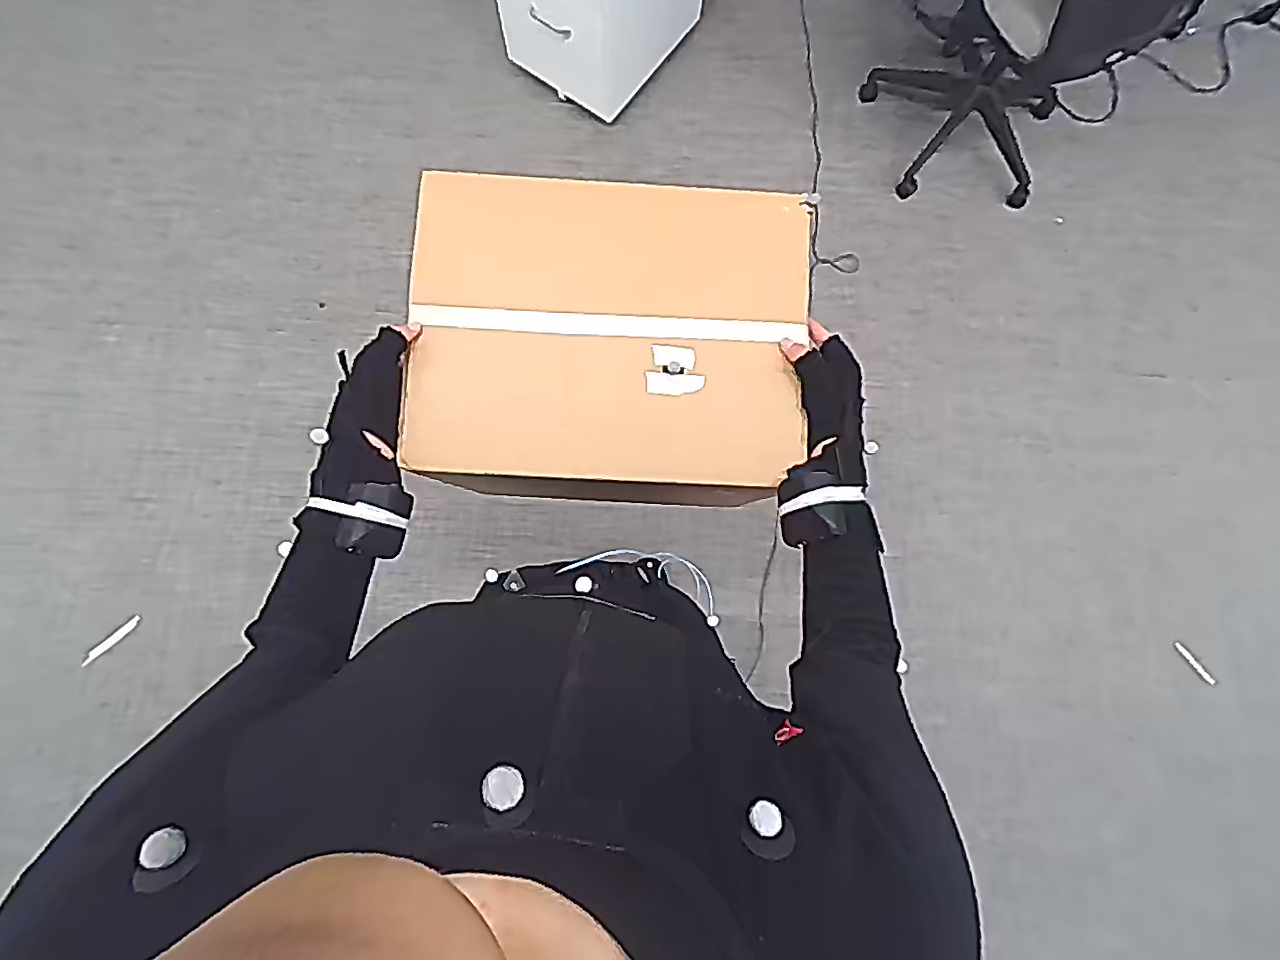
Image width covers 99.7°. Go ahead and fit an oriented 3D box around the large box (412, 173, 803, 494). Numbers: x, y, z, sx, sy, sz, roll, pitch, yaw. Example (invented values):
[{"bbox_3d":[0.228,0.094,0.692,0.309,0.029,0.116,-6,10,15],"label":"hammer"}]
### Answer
[{"bbox_3d":[-0.035,-0.151,0.711,0.408,0.320,0.320,3,85,-2],"label":"large box"}]
